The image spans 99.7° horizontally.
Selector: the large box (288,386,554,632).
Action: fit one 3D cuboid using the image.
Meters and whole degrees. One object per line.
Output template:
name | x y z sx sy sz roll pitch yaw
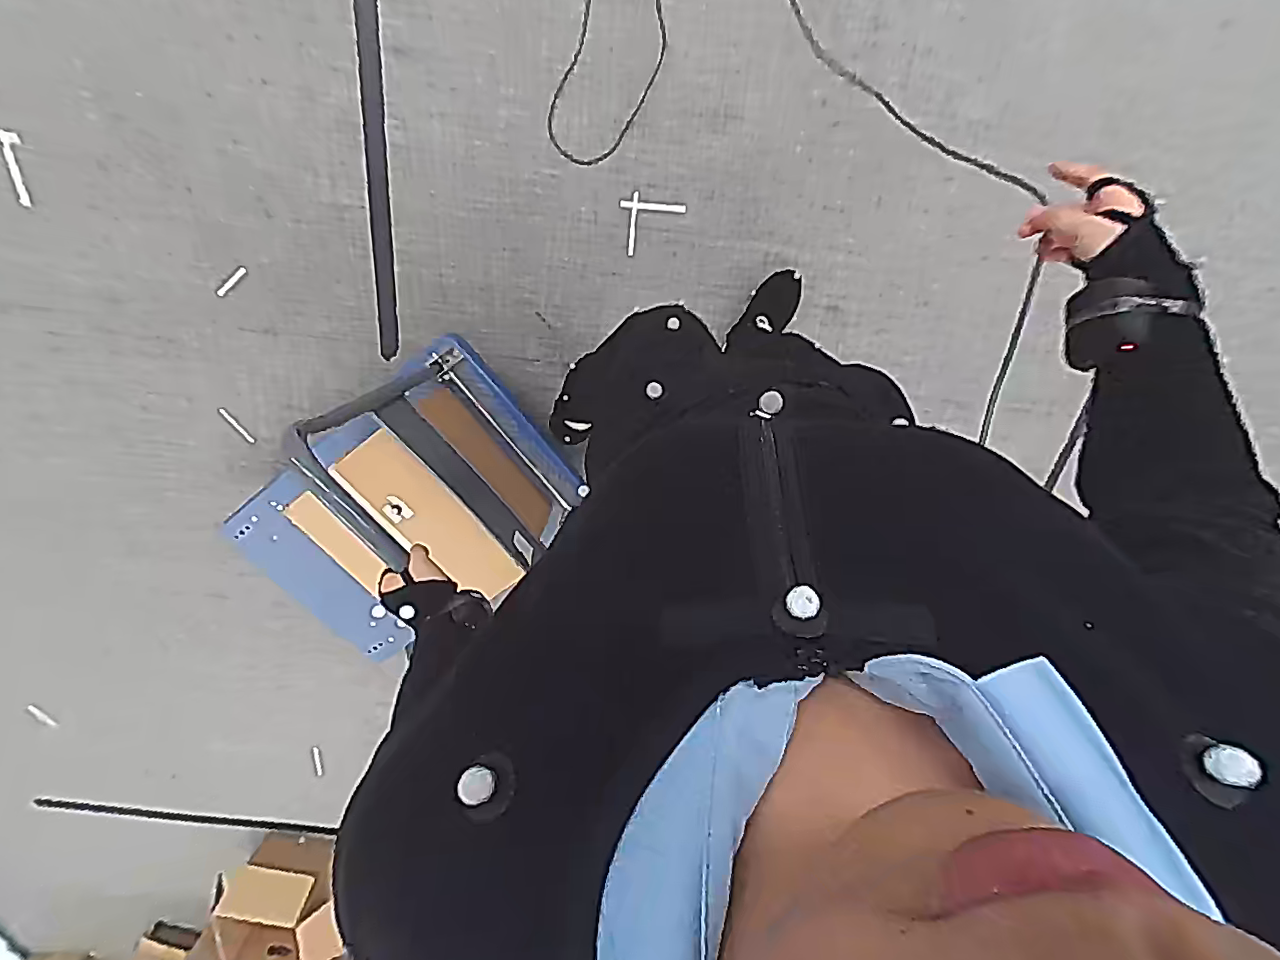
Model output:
large box | -0.462 0.057 1.238 0.320 0.320 0.408 -34 108 14
